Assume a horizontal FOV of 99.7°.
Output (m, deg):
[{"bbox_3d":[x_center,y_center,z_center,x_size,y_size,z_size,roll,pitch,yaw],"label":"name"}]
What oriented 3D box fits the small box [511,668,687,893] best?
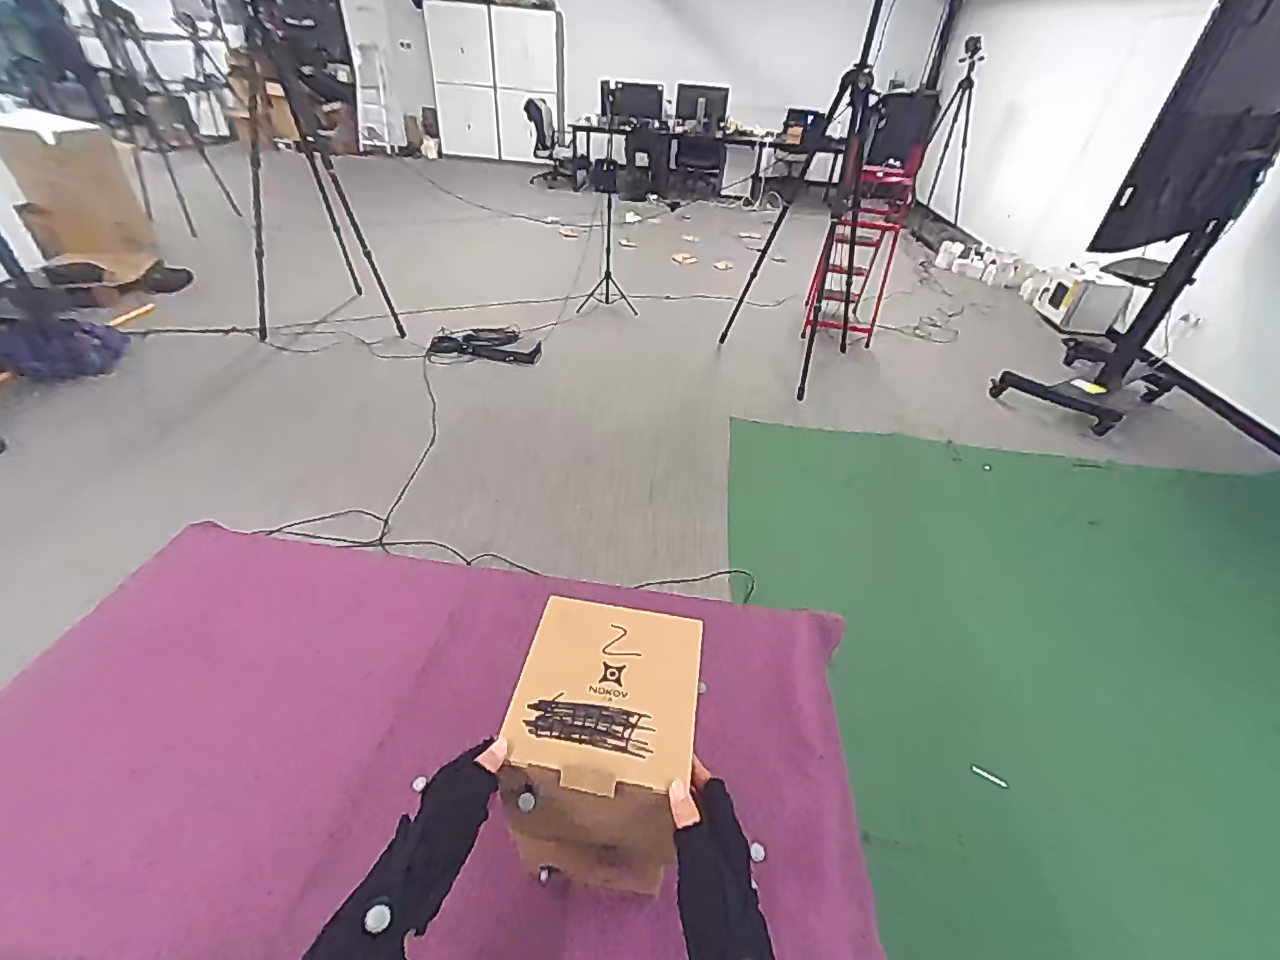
[{"bbox_3d":[-0.043,0.367,0.660,0.168,0.176,0.179,11,39,5],"label":"small box"}]
